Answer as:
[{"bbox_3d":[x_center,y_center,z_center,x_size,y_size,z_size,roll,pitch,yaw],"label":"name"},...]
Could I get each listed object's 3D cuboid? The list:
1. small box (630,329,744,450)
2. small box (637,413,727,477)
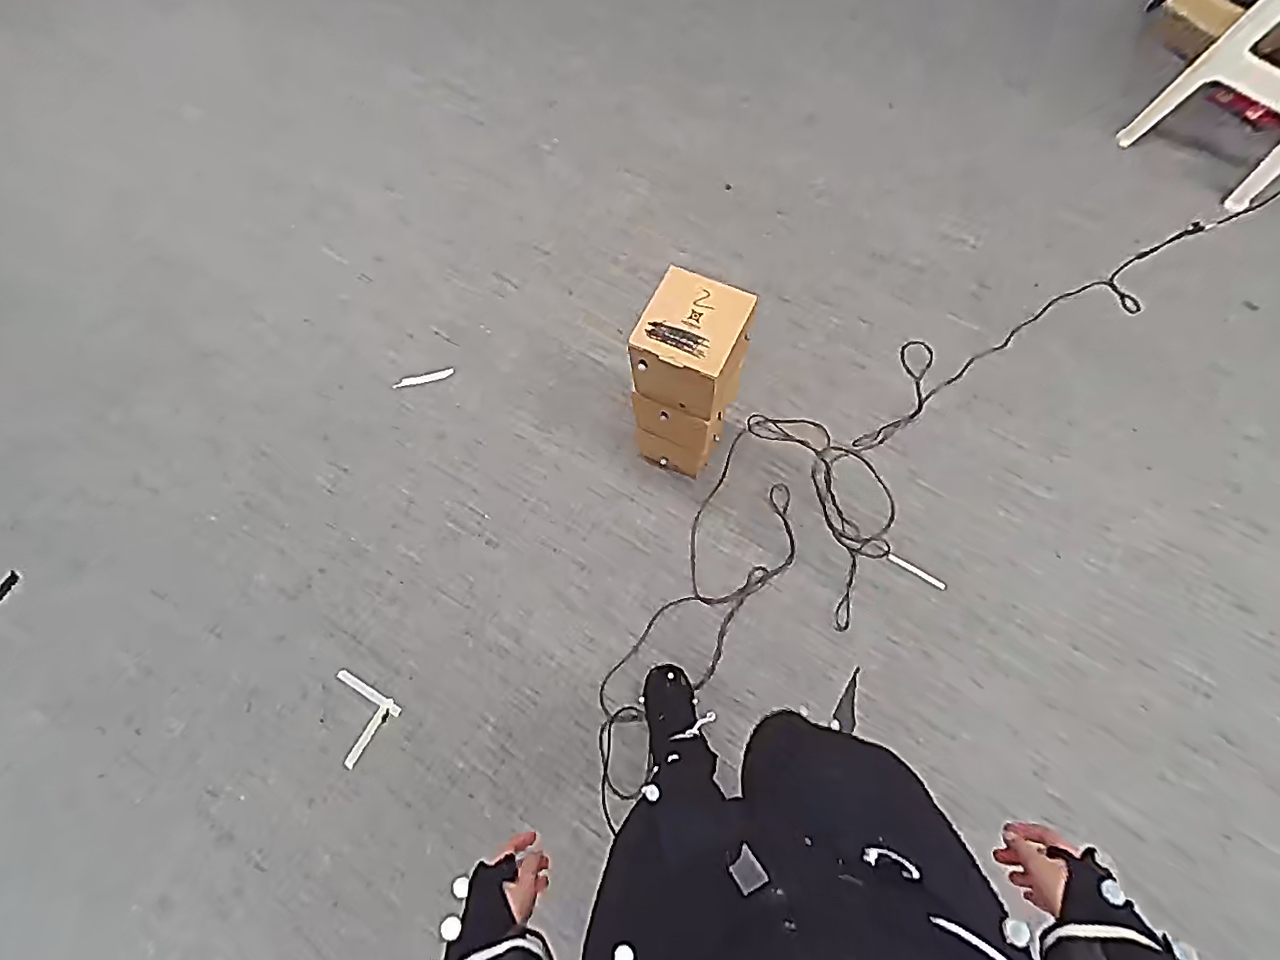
[{"bbox_3d":[0.099,-0.181,1.140,0.179,0.176,0.168,25,76,12],"label":"small box"},{"bbox_3d":[0.104,-0.133,1.295,0.168,0.176,0.179,23,76,11],"label":"small box"}]
